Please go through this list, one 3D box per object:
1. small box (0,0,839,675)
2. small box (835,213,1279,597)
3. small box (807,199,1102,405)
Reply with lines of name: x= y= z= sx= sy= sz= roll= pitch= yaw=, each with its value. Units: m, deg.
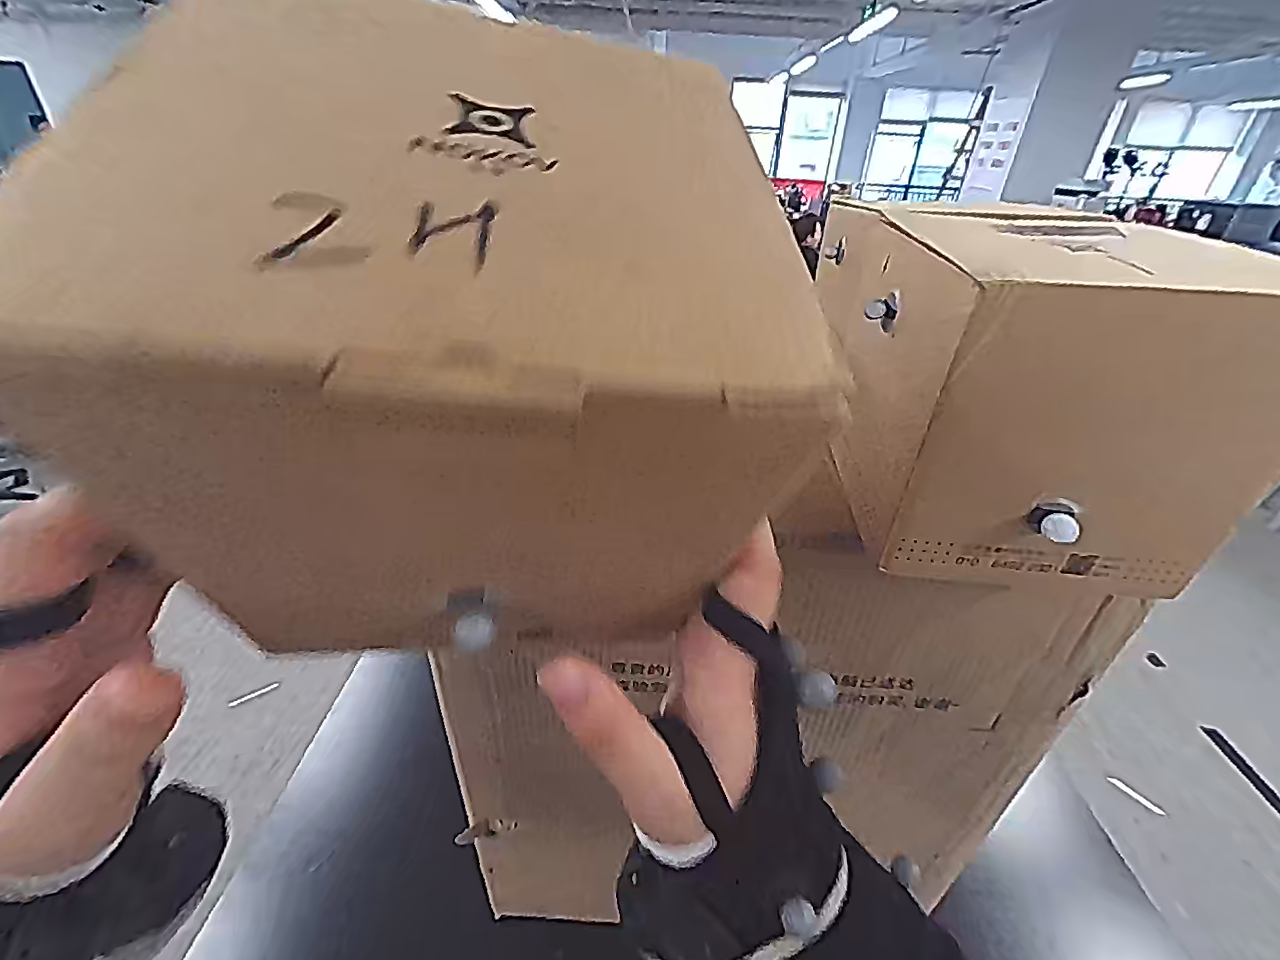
small box: x=-0.062 y=-0.040 z=0.204 sx=0.168 sy=0.176 sz=0.179 roll=0 pitch=58 yaw=-13
small box: x=0.225 y=-0.056 z=0.330 sx=0.168 sy=0.176 sz=0.179 roll=4 pitch=35 yaw=7
small box: x=0.258 y=-0.163 z=0.504 sx=0.168 sy=0.176 sz=0.179 roll=2 pitch=30 yaw=4
